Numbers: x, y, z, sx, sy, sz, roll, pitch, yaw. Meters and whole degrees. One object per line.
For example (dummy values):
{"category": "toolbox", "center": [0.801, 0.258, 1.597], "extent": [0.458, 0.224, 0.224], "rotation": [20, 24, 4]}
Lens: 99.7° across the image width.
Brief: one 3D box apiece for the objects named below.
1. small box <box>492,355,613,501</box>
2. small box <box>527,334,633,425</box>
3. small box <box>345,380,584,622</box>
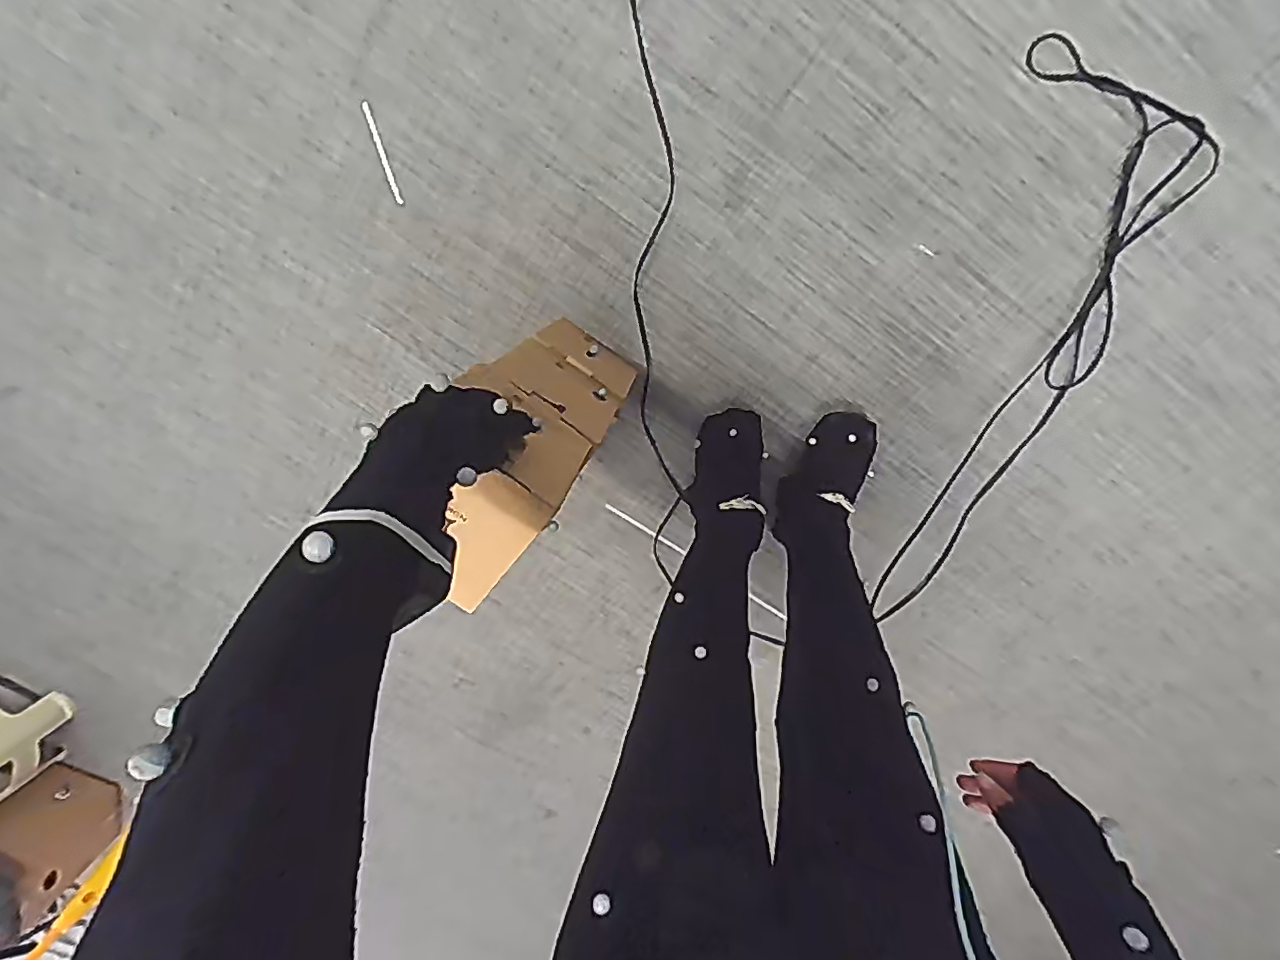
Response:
{"category": "small box", "center": [-0.153, -0.050, 0.758], "extent": [0.168, 0.176, 0.179], "rotation": [35, 116, -9]}
{"category": "small box", "center": [-0.126, -0.123, 0.906], "extent": [0.168, 0.176, 0.179], "rotation": [33, 114, -5]}
{"category": "small box", "center": [-0.183, 0.017, 0.612], "extent": [0.168, 0.176, 0.179], "rotation": [37, 114, -10]}
